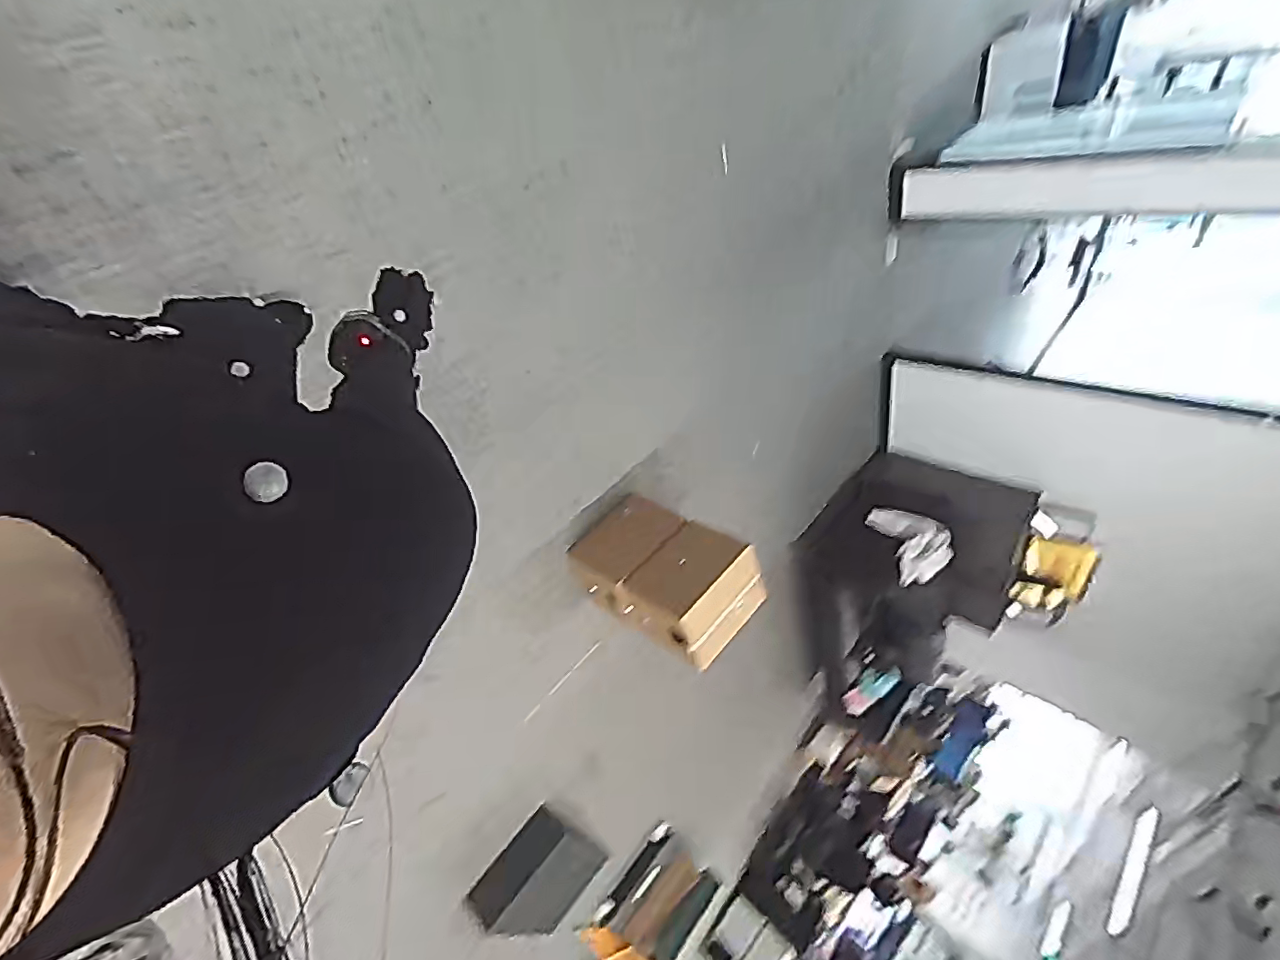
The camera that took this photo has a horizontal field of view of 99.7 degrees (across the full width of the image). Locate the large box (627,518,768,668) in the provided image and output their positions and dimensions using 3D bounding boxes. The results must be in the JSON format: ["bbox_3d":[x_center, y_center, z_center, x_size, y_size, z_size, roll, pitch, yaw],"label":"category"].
[{"bbox_3d":[0.225,0.415,2.054,0.408,0.320,0.320,-42,129,-27],"label":"large box"}]
